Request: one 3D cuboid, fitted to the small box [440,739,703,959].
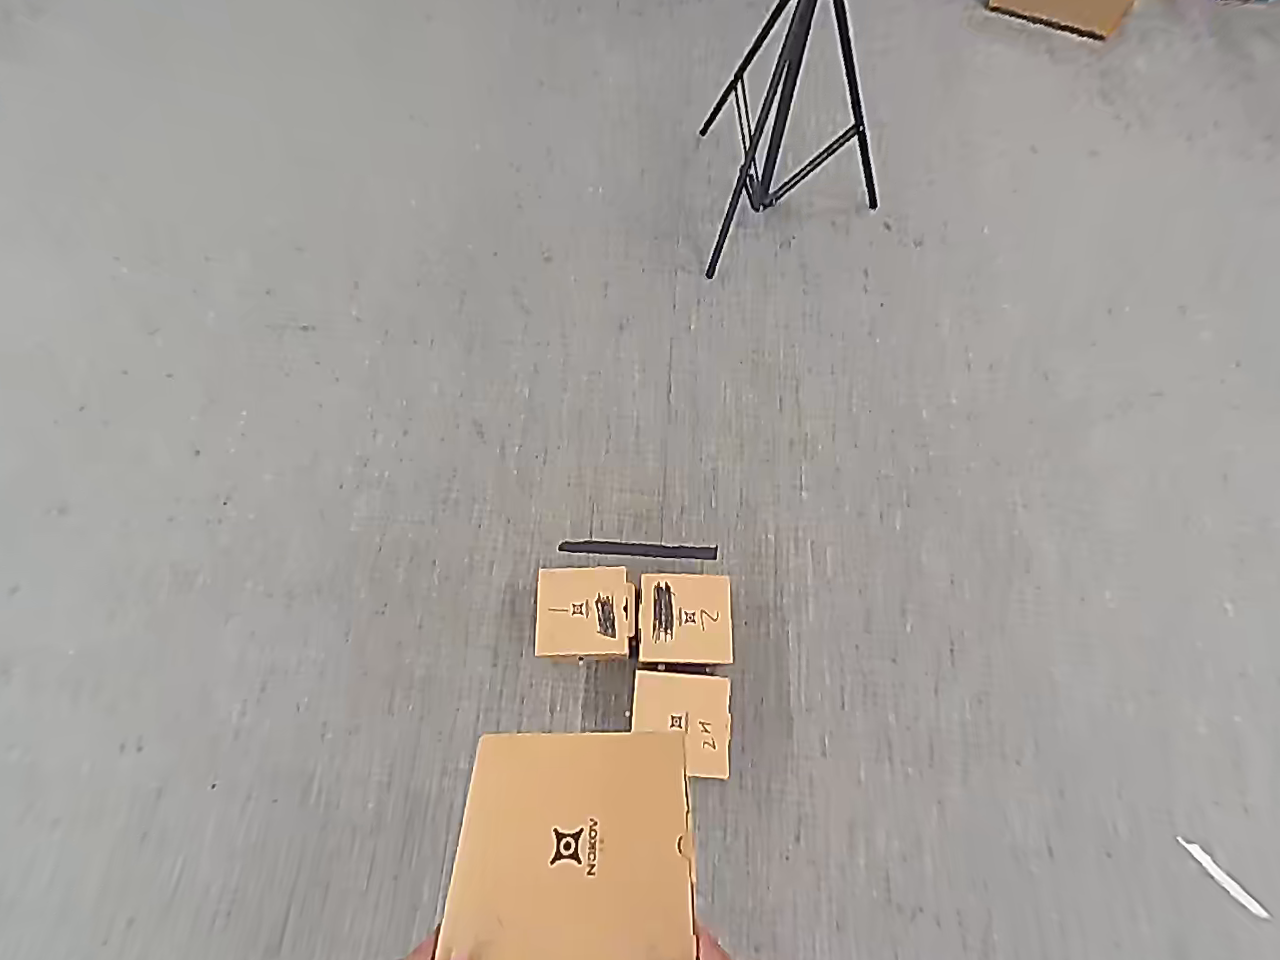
[{"bbox_3d":[-0.041,0.333,0.448,0.179,0.176,0.168,-1,43,2],"label":"small box"}]
